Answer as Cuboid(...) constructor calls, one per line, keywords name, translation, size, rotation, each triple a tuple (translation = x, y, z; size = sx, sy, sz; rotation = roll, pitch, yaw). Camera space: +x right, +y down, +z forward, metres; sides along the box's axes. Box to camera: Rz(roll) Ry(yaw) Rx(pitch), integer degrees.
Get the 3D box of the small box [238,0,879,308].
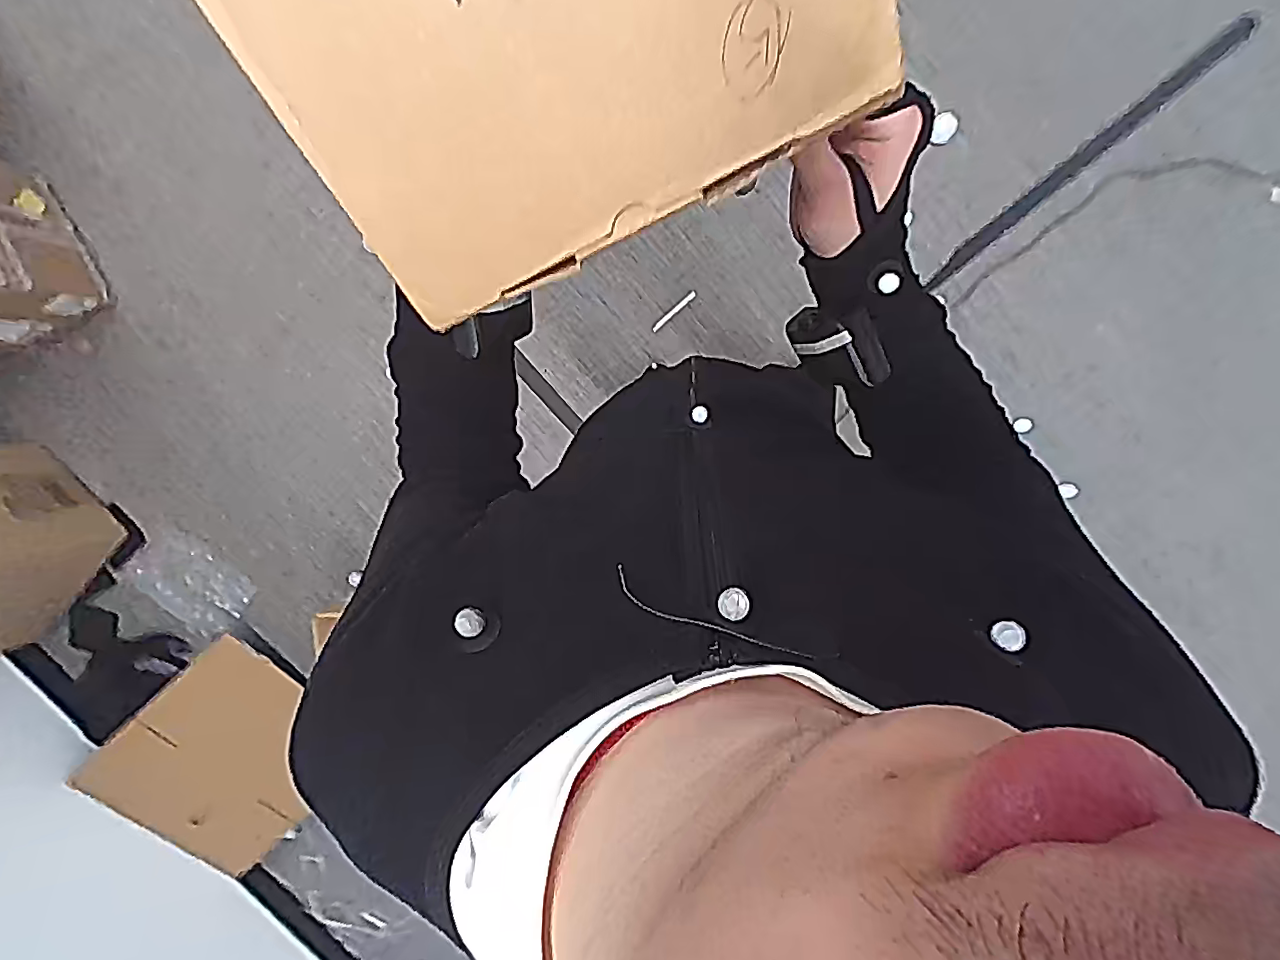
Cuboid(name="small box", translation=(-0.030, -0.199, 0.205), size=(0.168, 0.176, 0.179), rotation=(-19, 120, 17))
